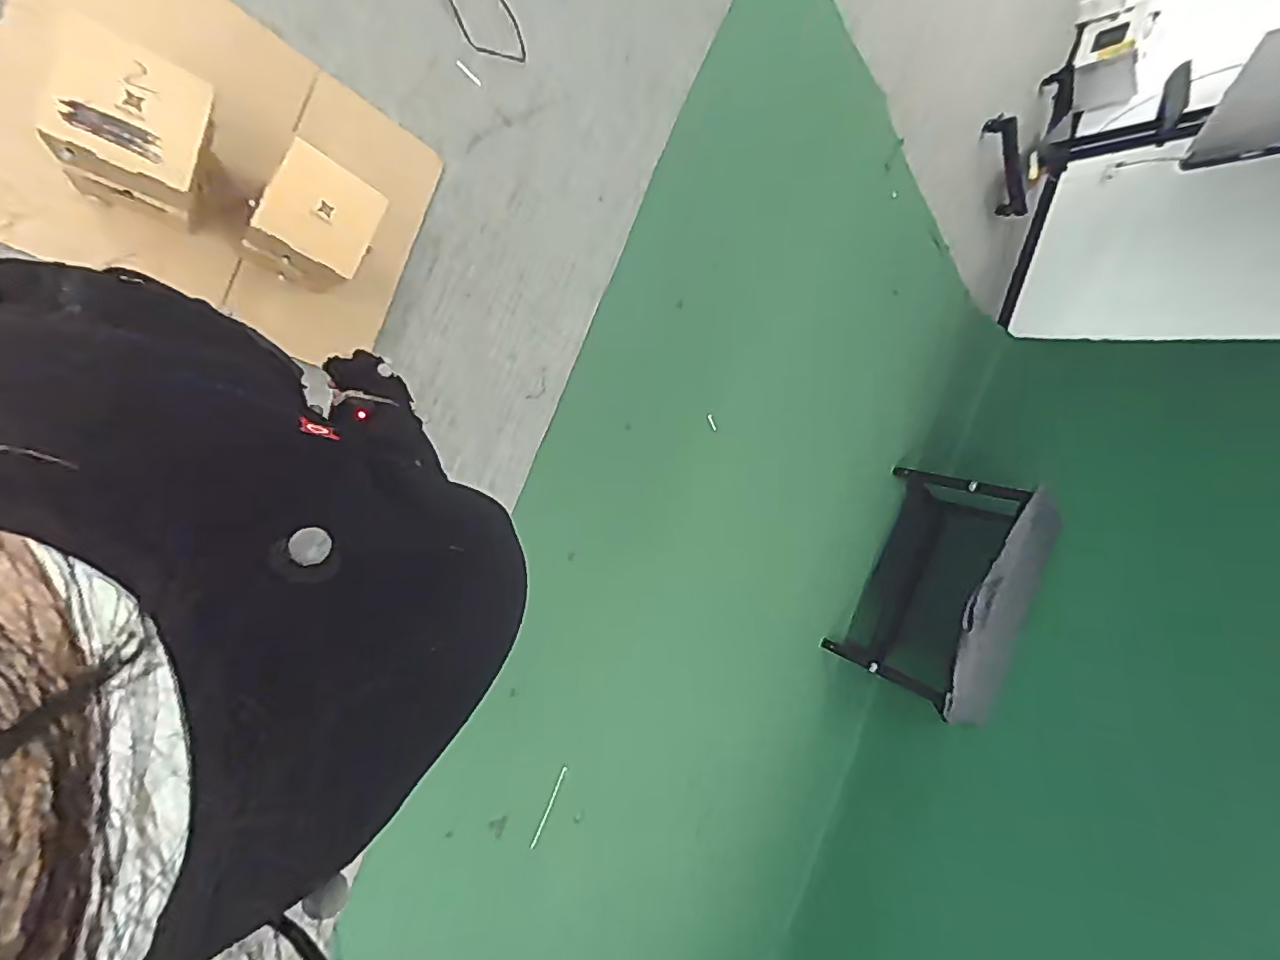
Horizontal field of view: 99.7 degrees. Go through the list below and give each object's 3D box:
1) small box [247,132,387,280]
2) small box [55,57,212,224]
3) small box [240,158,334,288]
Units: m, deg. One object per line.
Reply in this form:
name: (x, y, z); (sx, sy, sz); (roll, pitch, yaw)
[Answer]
small box: (-0.611, -0.499, 1.015); (0.168, 0.176, 0.179); (26, 85, -41)
small box: (-0.892, -0.586, 0.967); (0.168, 0.176, 0.179); (17, 90, -41)
small box: (-0.717, -0.526, 1.135); (0.168, 0.176, 0.179); (23, 87, -40)
